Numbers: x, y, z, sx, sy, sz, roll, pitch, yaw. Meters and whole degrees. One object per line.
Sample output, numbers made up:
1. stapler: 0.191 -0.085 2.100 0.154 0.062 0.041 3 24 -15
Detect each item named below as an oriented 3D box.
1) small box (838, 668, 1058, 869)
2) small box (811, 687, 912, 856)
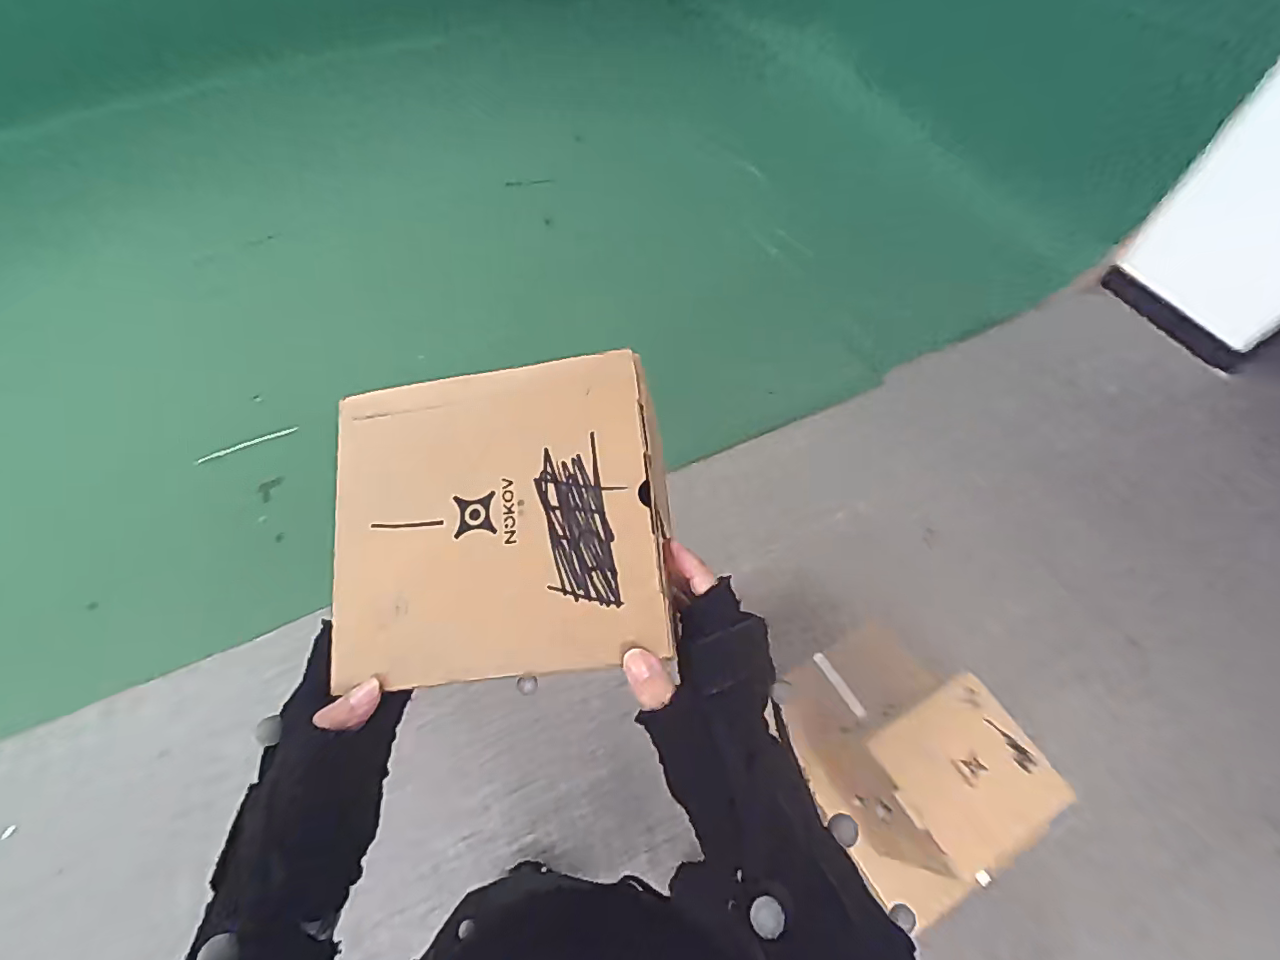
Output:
1. small box: 0.392 0.386 0.733 0.179 0.176 0.168 -27 62 -10
2. small box: 0.404 0.466 0.875 0.168 0.176 0.179 -26 64 -10
